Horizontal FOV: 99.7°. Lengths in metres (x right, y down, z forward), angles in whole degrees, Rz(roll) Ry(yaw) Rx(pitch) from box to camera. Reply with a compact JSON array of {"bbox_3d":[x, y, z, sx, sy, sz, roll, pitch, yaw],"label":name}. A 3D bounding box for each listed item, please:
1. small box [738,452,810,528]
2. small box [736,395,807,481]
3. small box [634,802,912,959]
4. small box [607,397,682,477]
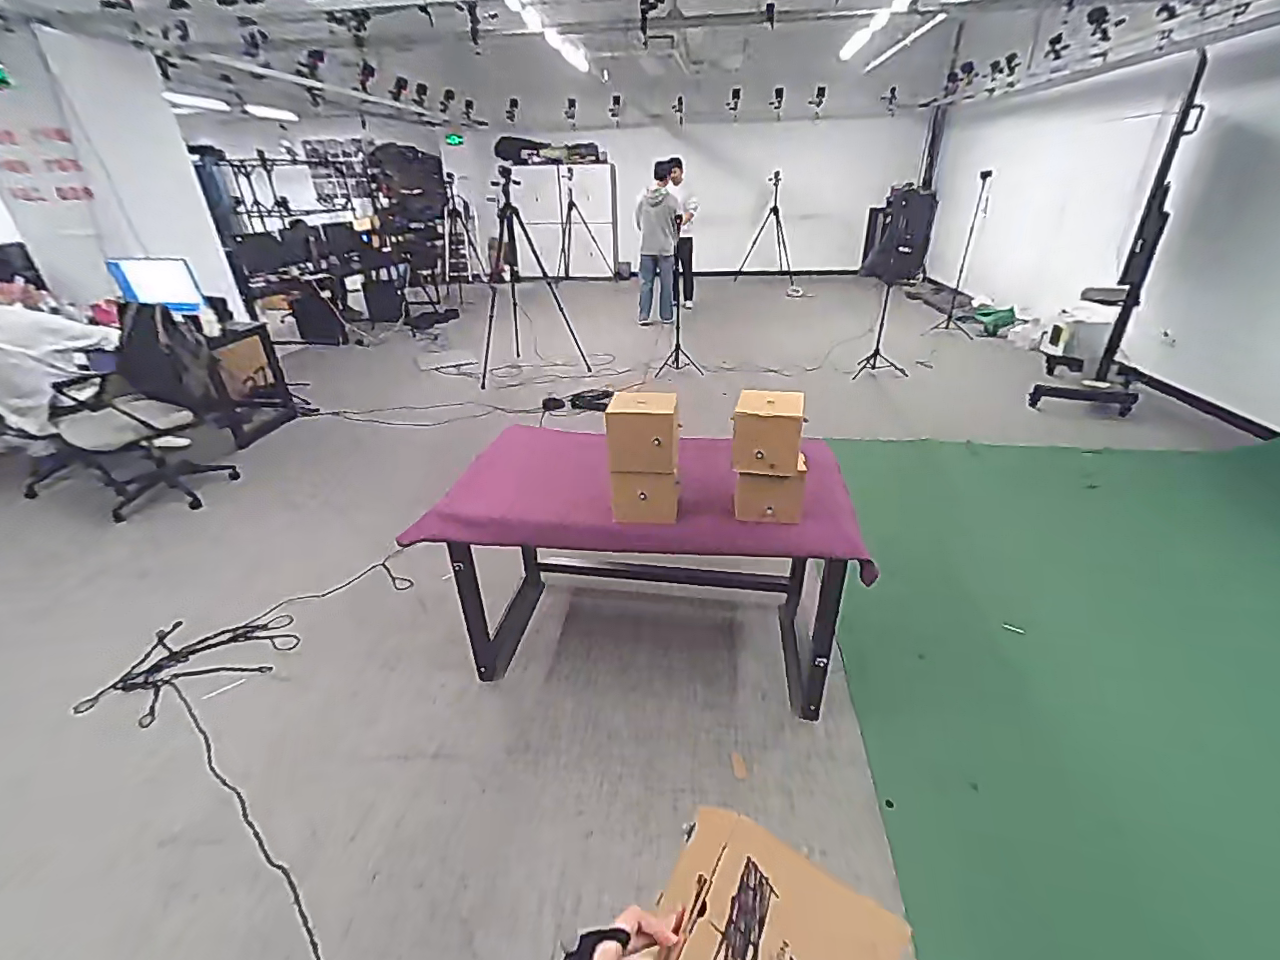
[{"bbox_3d":[0.369,0.022,1.513,0.179,0.176,0.168,2,27,8],"label":"small box"},{"bbox_3d":[0.346,-0.115,1.424,0.168,0.176,0.179,5,29,15],"label":"small box"},{"bbox_3d":[0.110,0.434,0.509,0.179,0.176,0.168,31,62,9],"label":"small box"},{"bbox_3d":[0.019,-0.115,1.448,0.179,0.176,0.168,1,26,9],"label":"small box"}]
